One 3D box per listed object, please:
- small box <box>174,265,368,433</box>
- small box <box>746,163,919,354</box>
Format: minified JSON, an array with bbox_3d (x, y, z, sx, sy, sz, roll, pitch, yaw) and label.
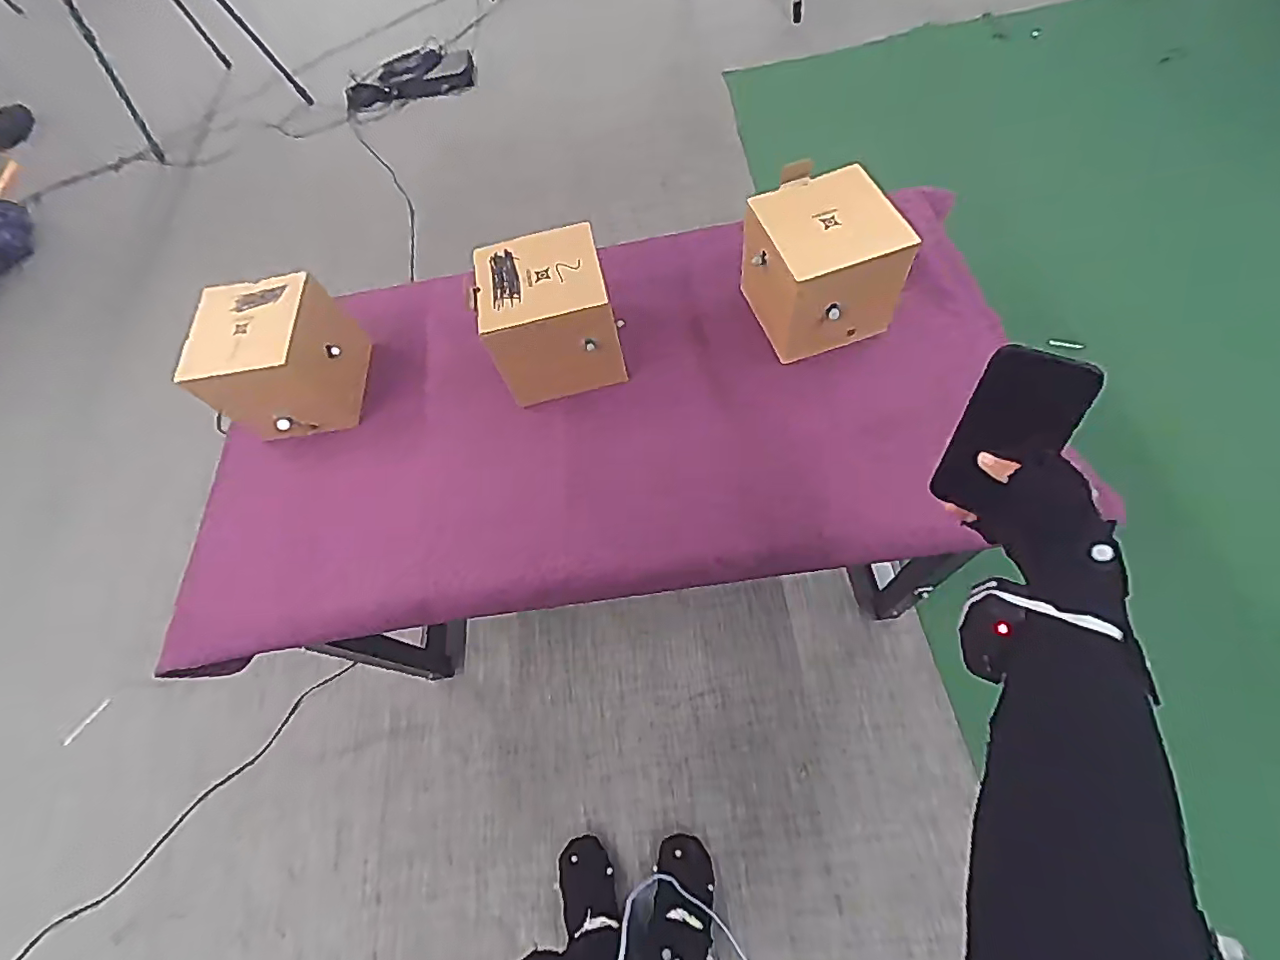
[{"bbox_3d":[-0.546,-0.194,0.831,0.168,0.176,0.179,-7,65,4],"label":"small box"},{"bbox_3d":[0.259,-0.303,0.774,0.168,0.176,0.179,-18,62,0],"label":"small box"}]
